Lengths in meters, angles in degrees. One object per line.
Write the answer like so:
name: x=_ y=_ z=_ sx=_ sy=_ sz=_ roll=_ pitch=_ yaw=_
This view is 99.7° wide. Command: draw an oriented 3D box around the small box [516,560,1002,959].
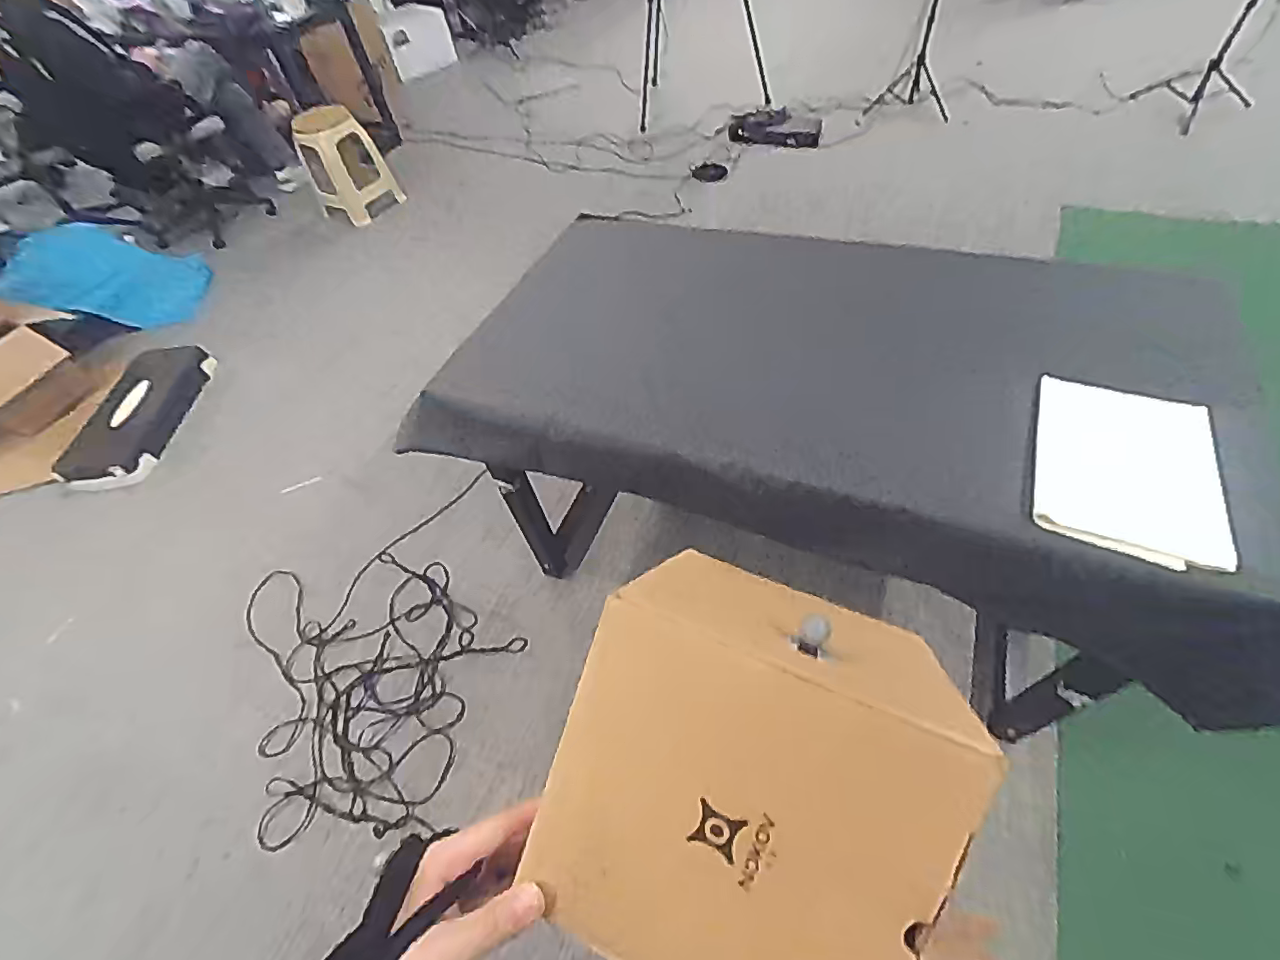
small box: x=0.063 y=0.154 z=0.319 sx=0.179 sy=0.176 sz=0.168 roll=19 pitch=95 yaw=15
